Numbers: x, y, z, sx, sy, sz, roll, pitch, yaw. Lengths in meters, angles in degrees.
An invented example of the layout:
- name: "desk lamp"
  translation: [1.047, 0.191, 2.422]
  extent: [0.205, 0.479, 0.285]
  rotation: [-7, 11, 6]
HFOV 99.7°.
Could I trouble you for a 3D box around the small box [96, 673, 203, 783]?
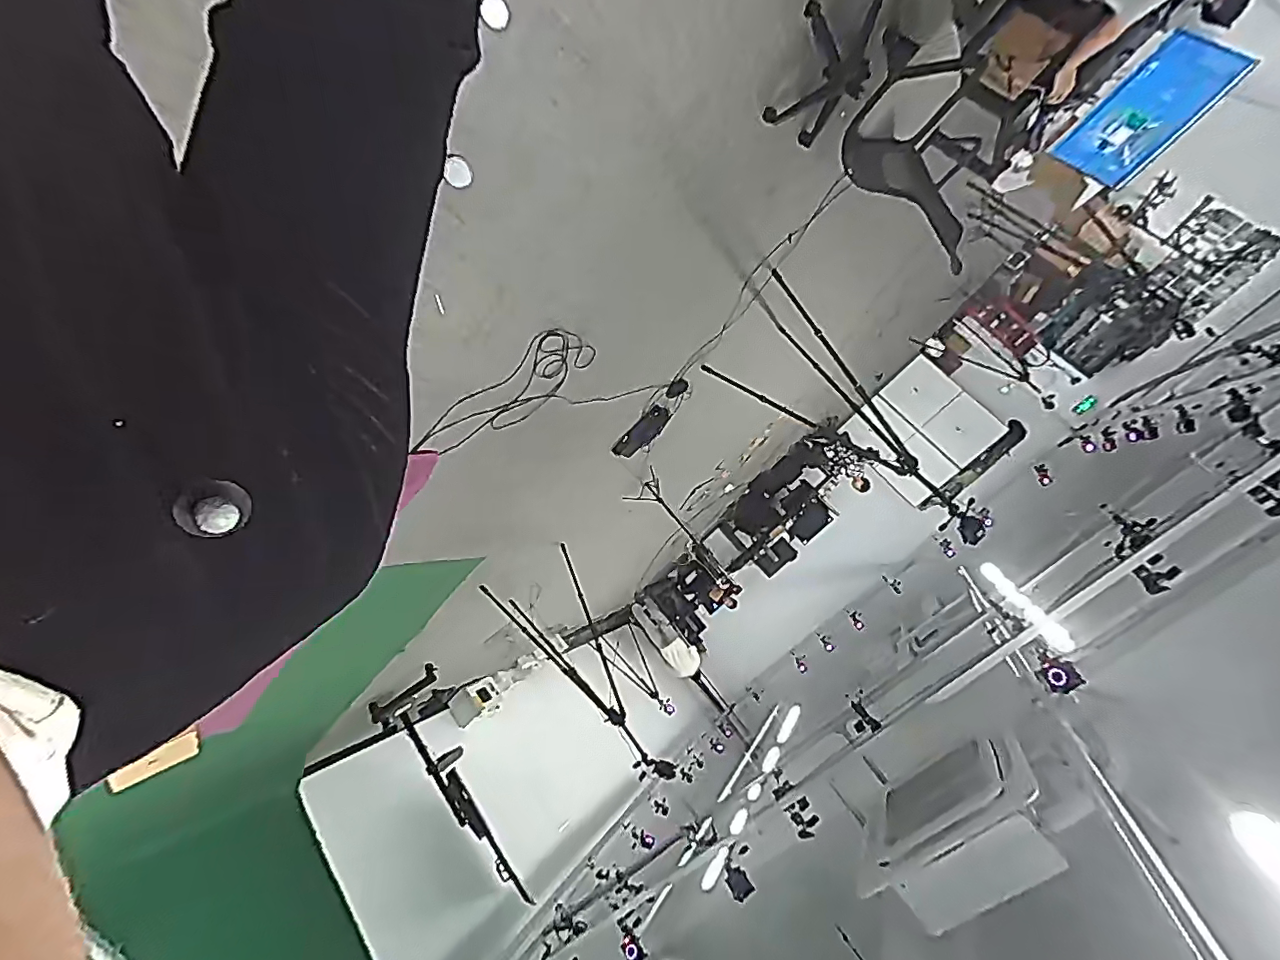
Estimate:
- name: "small box"
  translation: [-1.291, 0.647, 1.424]
  extent: [0.179, 0.176, 0.168]
  rotation: [-20, 153, -46]
